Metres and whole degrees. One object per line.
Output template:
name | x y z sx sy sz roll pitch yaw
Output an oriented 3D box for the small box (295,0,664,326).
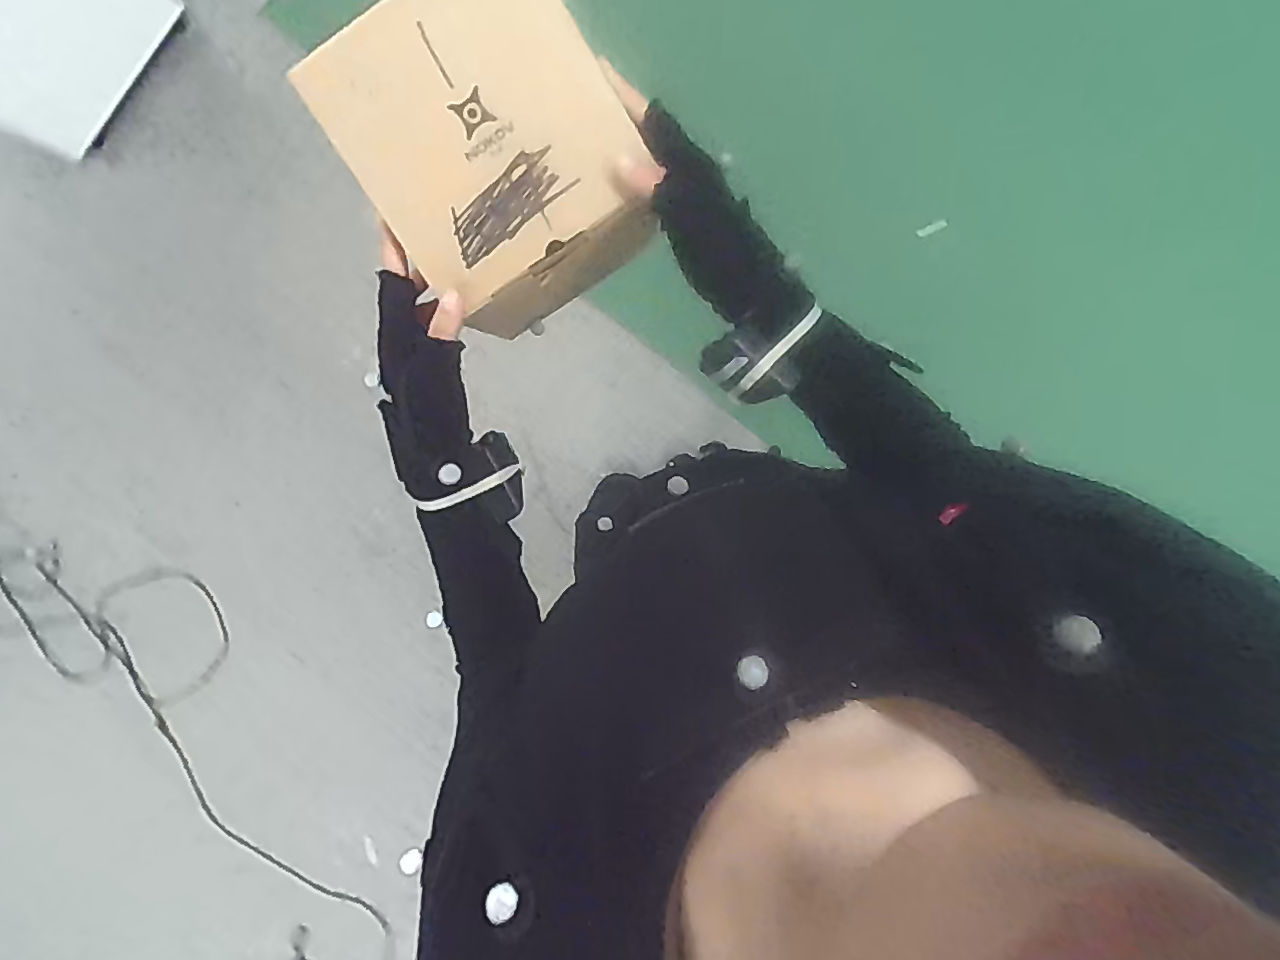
small box | -0.095 -0.233 0.408 0.168 0.176 0.179 -31 98 4
